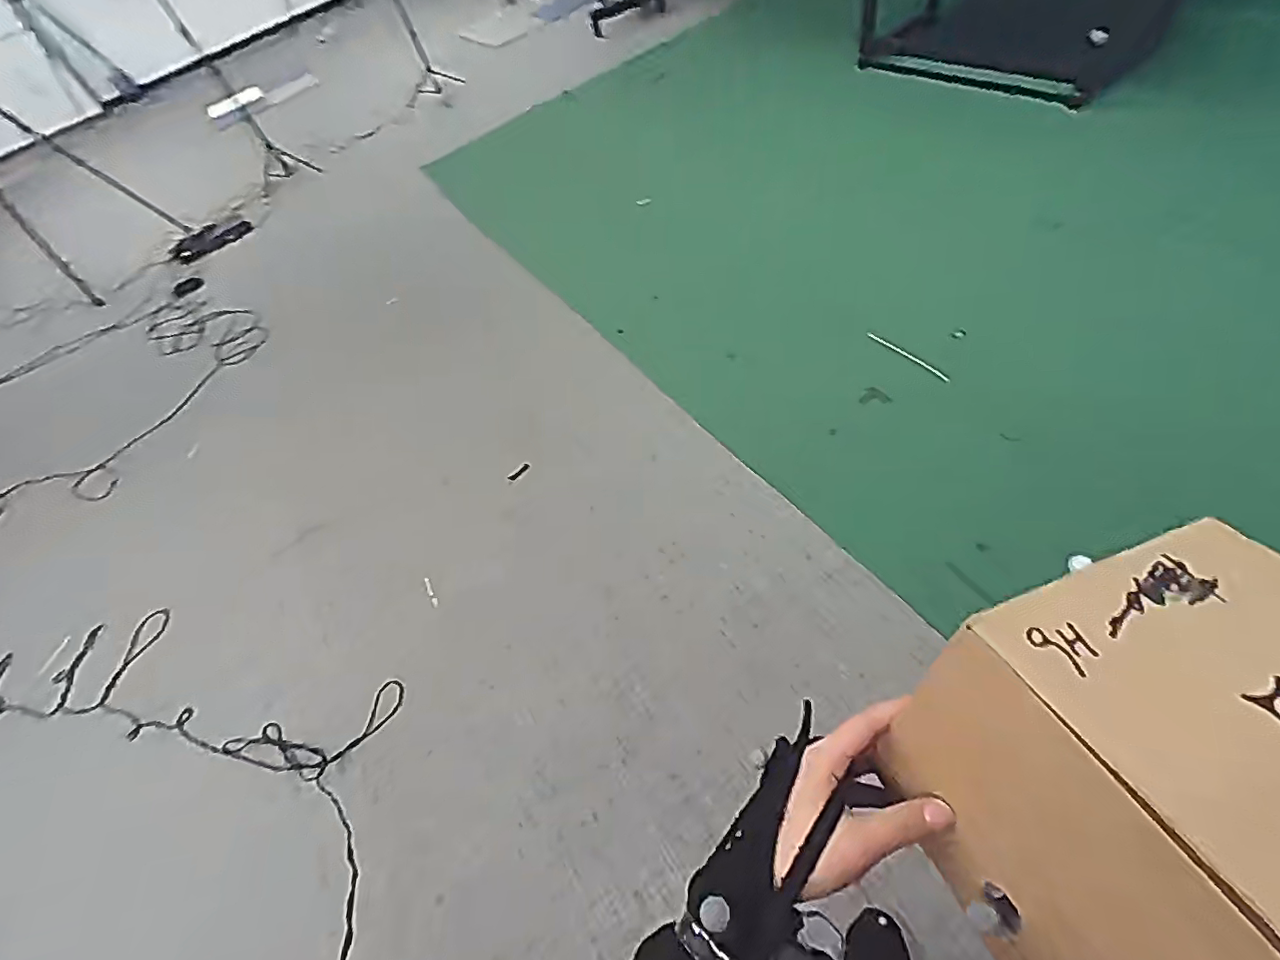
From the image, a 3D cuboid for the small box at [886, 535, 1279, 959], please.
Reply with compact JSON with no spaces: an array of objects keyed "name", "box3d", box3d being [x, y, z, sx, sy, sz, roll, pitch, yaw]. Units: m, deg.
[{"name":"small box","box3d":[0.255,0.161,0.254,0.168,0.176,0.179,-14,45,-13]}]
